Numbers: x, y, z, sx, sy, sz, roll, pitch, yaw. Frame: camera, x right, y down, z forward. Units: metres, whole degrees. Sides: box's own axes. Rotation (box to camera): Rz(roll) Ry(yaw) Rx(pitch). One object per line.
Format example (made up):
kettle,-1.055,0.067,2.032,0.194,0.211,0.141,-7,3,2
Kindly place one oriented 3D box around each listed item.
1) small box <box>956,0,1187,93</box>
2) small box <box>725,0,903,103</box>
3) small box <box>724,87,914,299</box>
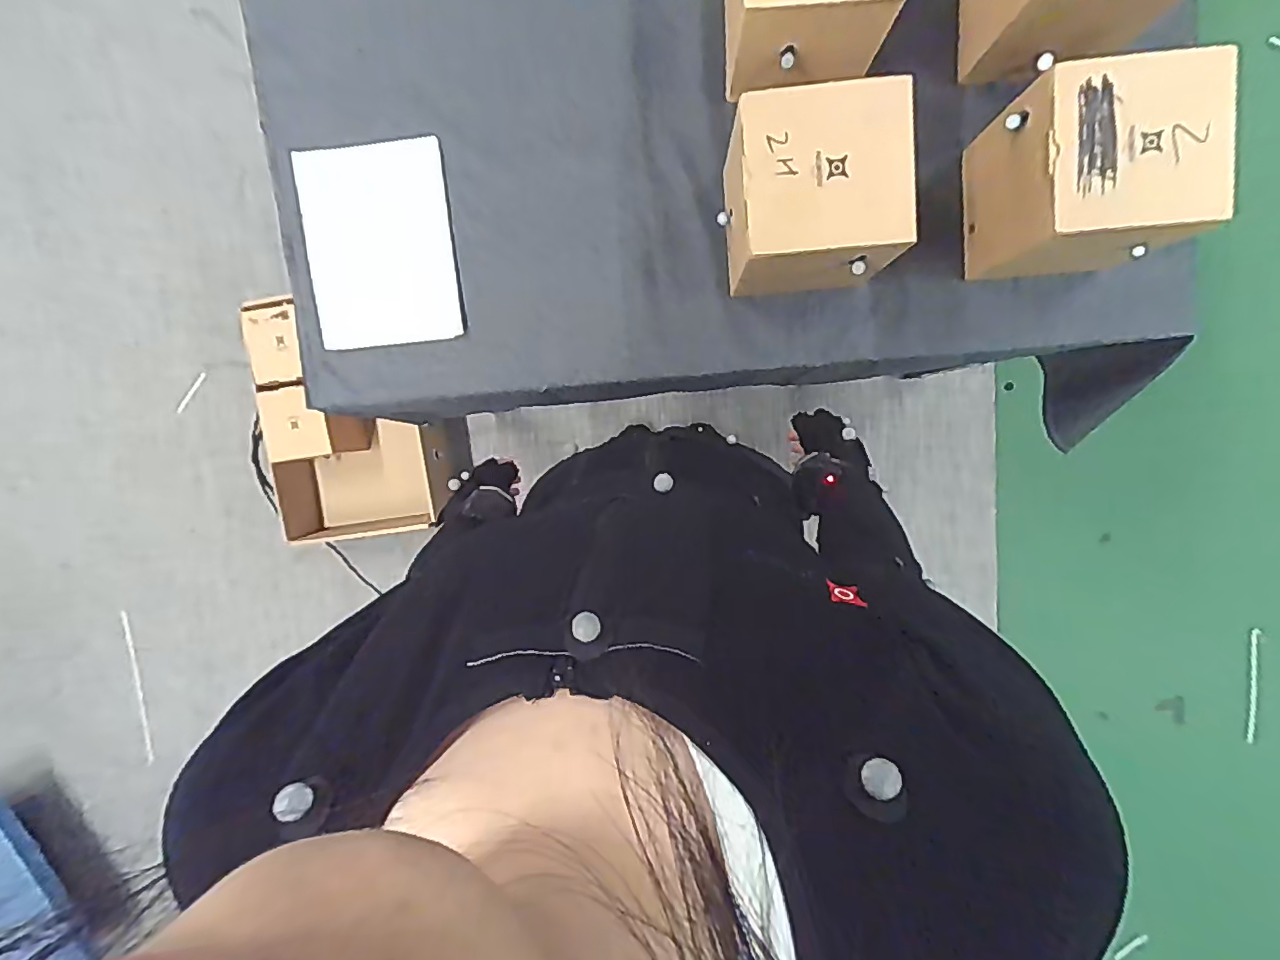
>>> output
small box,0.478,-0.577,0.602,0.168,0.176,0.179,-1,95,4
small box,0.189,-0.565,0.622,0.168,0.176,0.179,-1,95,3
small box,0.198,-0.321,0.639,0.179,0.176,0.168,-3,94,4
